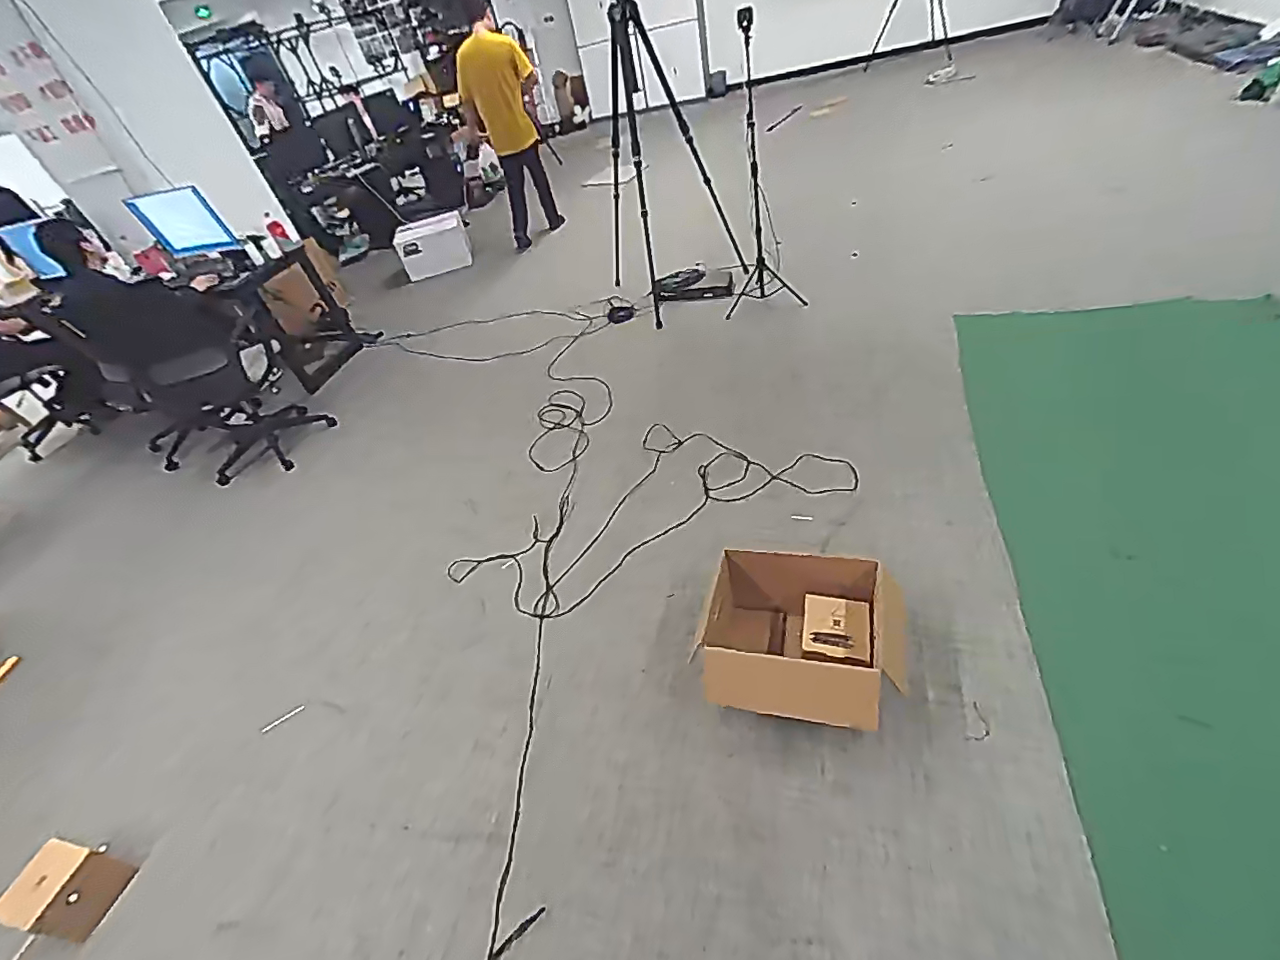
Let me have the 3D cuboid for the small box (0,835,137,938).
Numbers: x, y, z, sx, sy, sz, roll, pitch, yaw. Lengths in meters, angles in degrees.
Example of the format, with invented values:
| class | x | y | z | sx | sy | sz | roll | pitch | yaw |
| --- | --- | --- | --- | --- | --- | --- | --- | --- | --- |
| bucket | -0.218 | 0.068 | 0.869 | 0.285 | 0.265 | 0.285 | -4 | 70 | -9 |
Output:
| class | x | y | z | sx | sy | sz | roll | pitch | yaw |
| --- | --- | --- | --- | --- | --- | --- | --- | --- | --- |
| small box | -1.508 | 1.082 | 1.438 | 0.168 | 0.176 | 0.179 | 1 | 46 | 17 |
